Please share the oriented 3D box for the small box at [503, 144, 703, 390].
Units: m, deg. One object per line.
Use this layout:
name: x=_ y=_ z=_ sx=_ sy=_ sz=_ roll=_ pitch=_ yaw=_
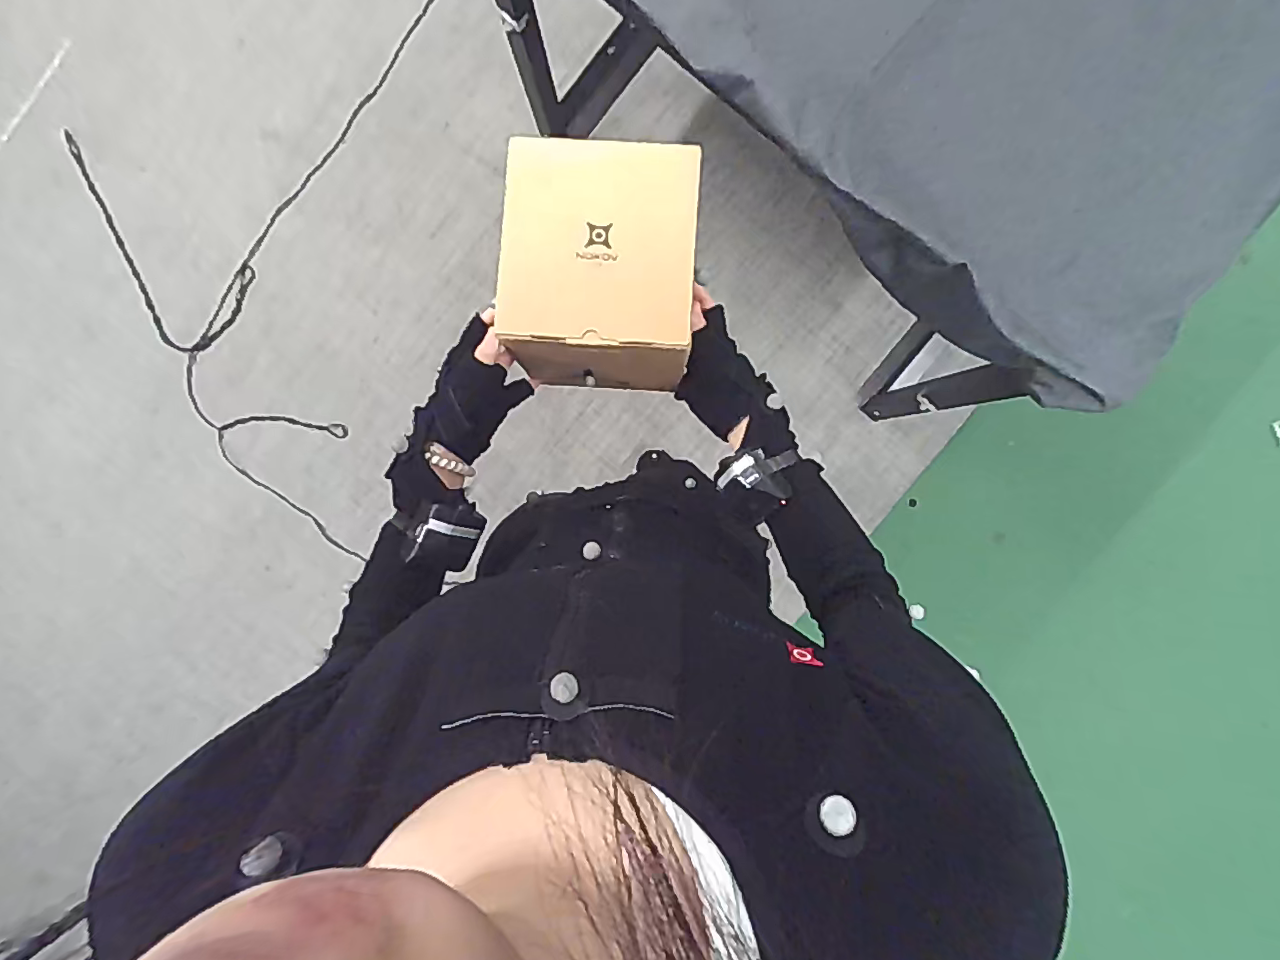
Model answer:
small box: x=-0.032 y=-0.200 z=0.550 sx=0.168 sy=0.176 sz=0.179 roll=4 pitch=88 yaw=0
